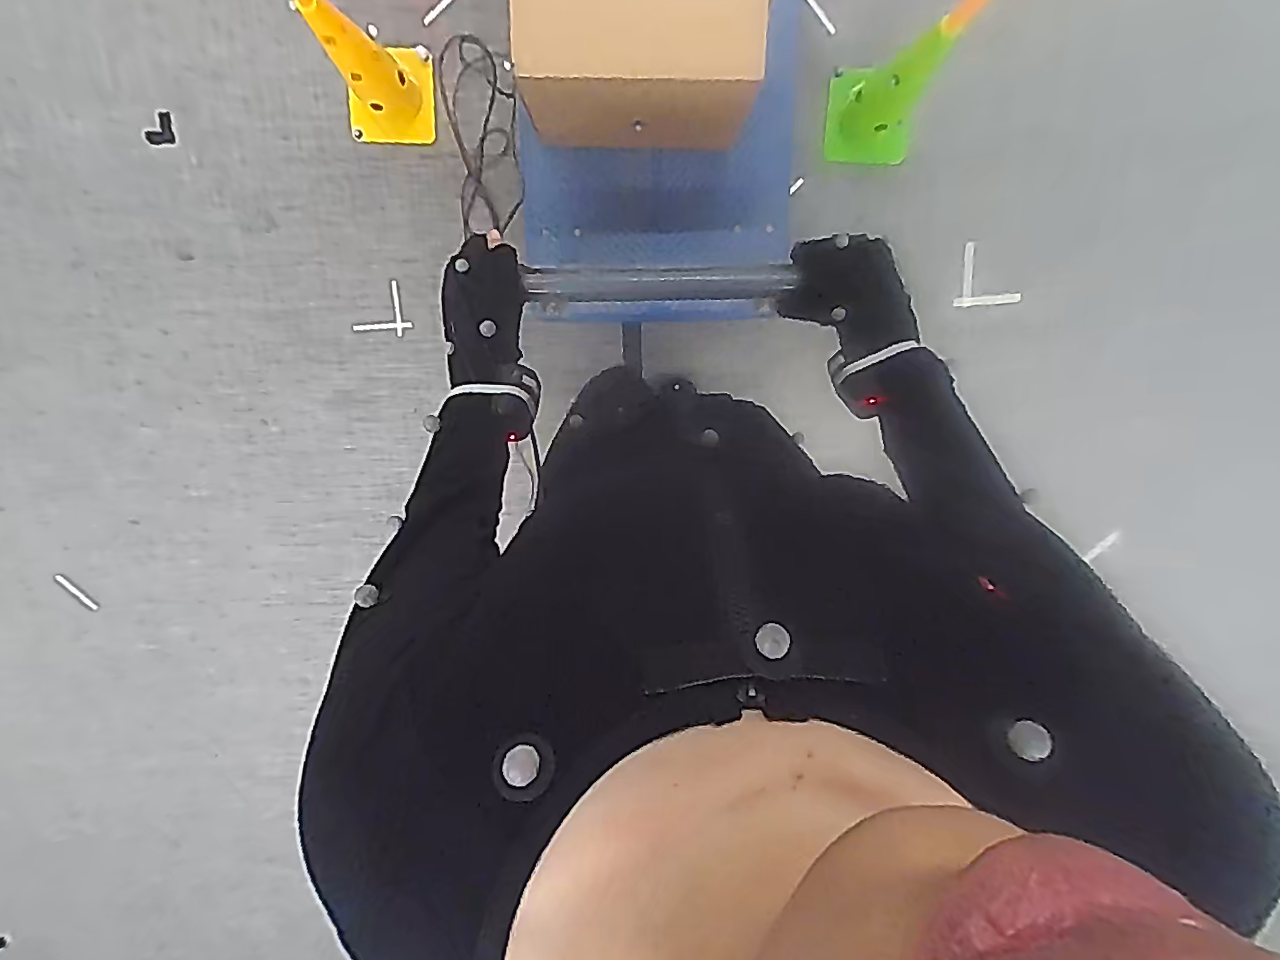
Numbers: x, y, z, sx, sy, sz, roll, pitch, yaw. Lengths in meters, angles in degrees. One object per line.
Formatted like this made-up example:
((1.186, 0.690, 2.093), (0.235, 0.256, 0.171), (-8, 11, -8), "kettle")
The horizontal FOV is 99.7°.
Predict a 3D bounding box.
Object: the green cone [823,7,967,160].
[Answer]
((0.547, -0.842, 1.124), (0.202, 0.368, 0.200), (2, 102, -2), "green cone")

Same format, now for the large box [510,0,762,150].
((-0.004, -0.820, 0.982), (0.408, 0.320, 0.320), (1, 103, 0), "large box")
